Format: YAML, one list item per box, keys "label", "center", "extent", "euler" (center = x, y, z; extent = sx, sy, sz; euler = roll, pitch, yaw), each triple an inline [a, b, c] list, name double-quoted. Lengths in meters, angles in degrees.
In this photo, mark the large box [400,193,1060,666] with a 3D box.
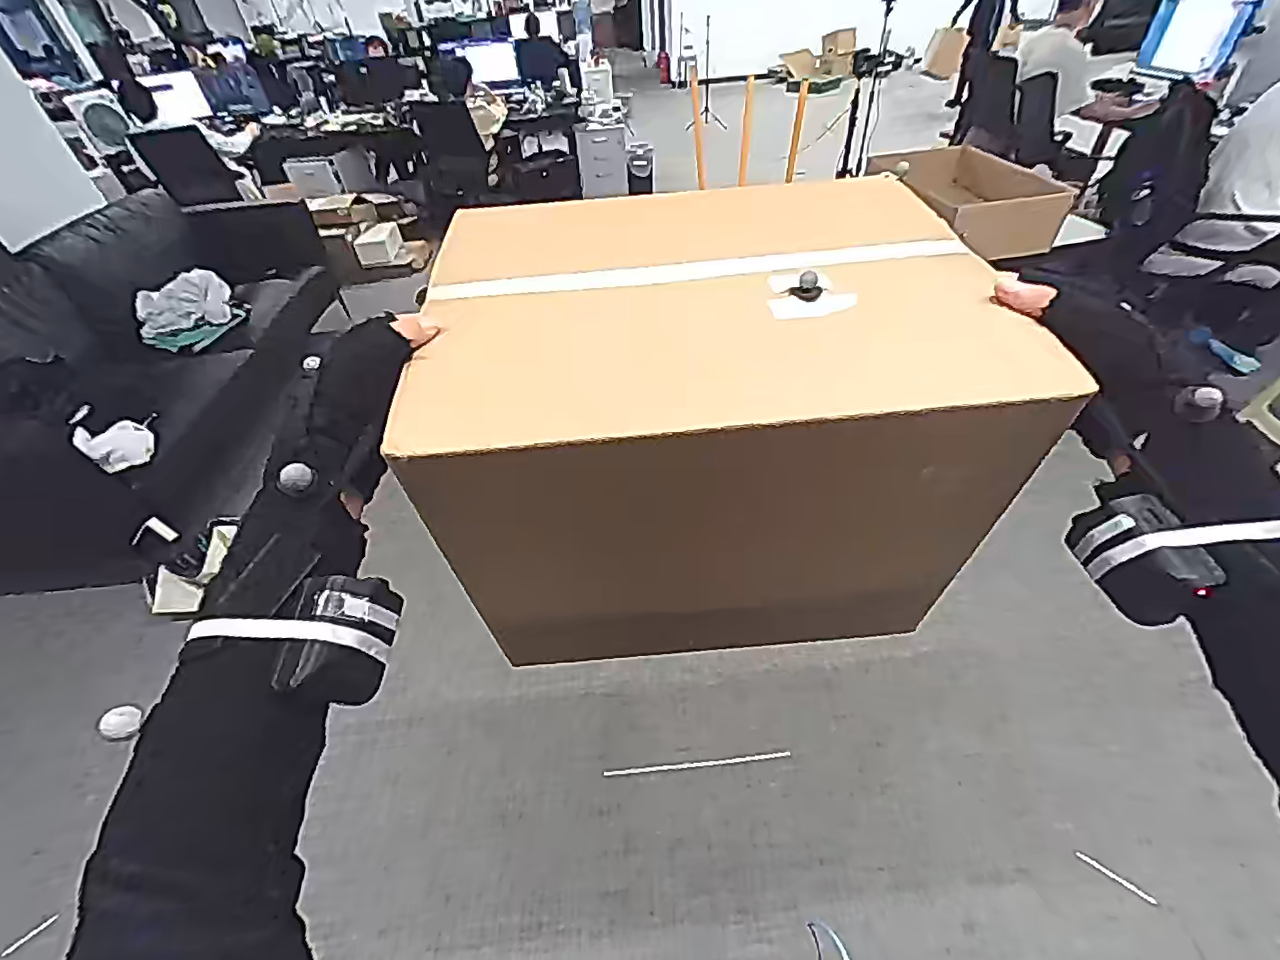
- label: "large box"
  center: [0.048, -0.043, 0.524]
  extent: [0.408, 0.320, 0.320]
  euler: [-5, 50, -1]
